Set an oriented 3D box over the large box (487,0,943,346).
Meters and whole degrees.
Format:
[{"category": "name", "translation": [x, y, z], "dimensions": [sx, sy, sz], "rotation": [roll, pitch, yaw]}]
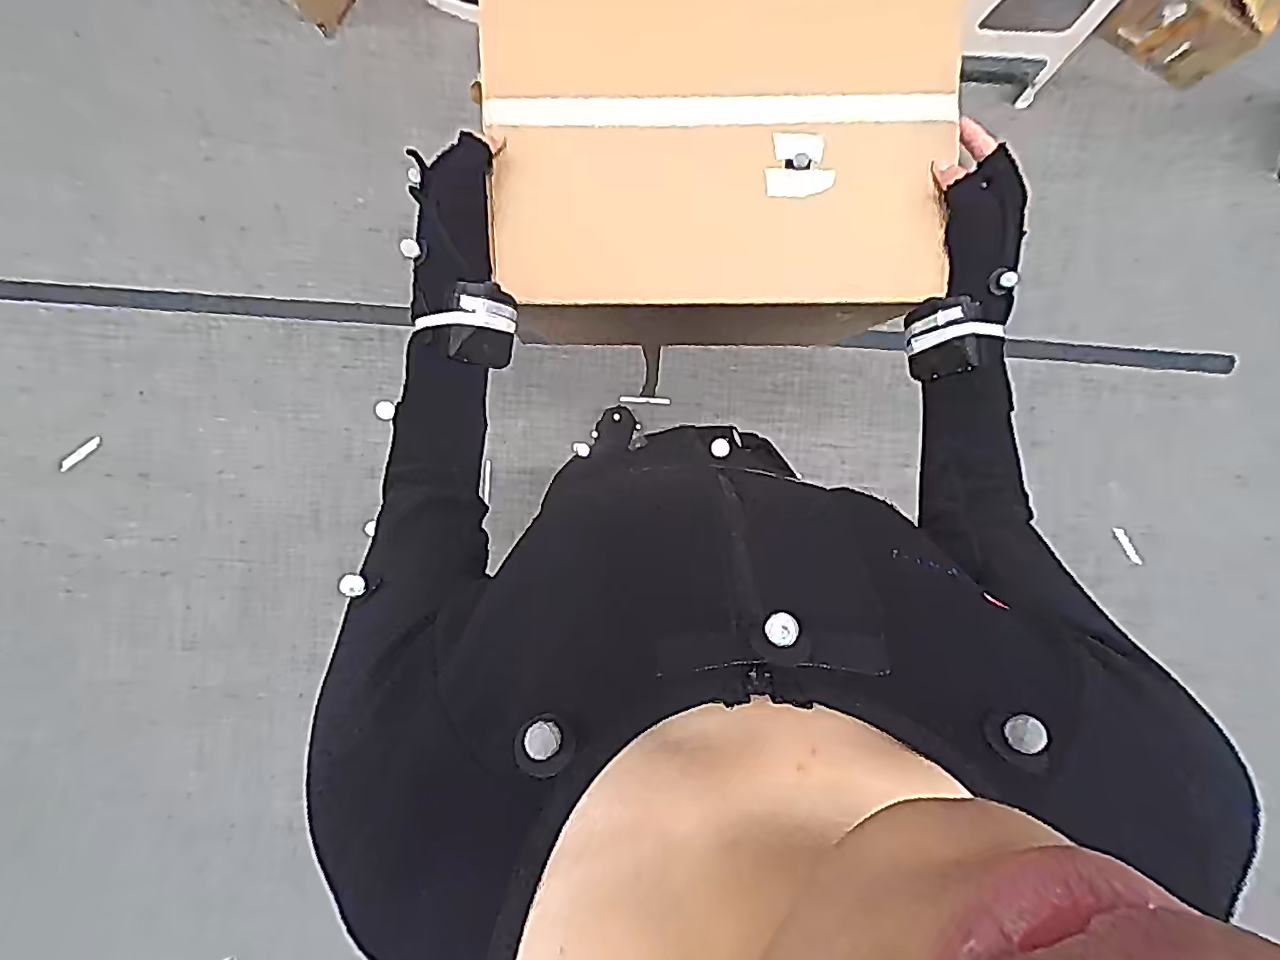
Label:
[{"category": "large box", "translation": [0.064, -0.336, 0.628], "dimensions": [0.408, 0.320, 0.320], "rotation": [0, 98, -1]}]
